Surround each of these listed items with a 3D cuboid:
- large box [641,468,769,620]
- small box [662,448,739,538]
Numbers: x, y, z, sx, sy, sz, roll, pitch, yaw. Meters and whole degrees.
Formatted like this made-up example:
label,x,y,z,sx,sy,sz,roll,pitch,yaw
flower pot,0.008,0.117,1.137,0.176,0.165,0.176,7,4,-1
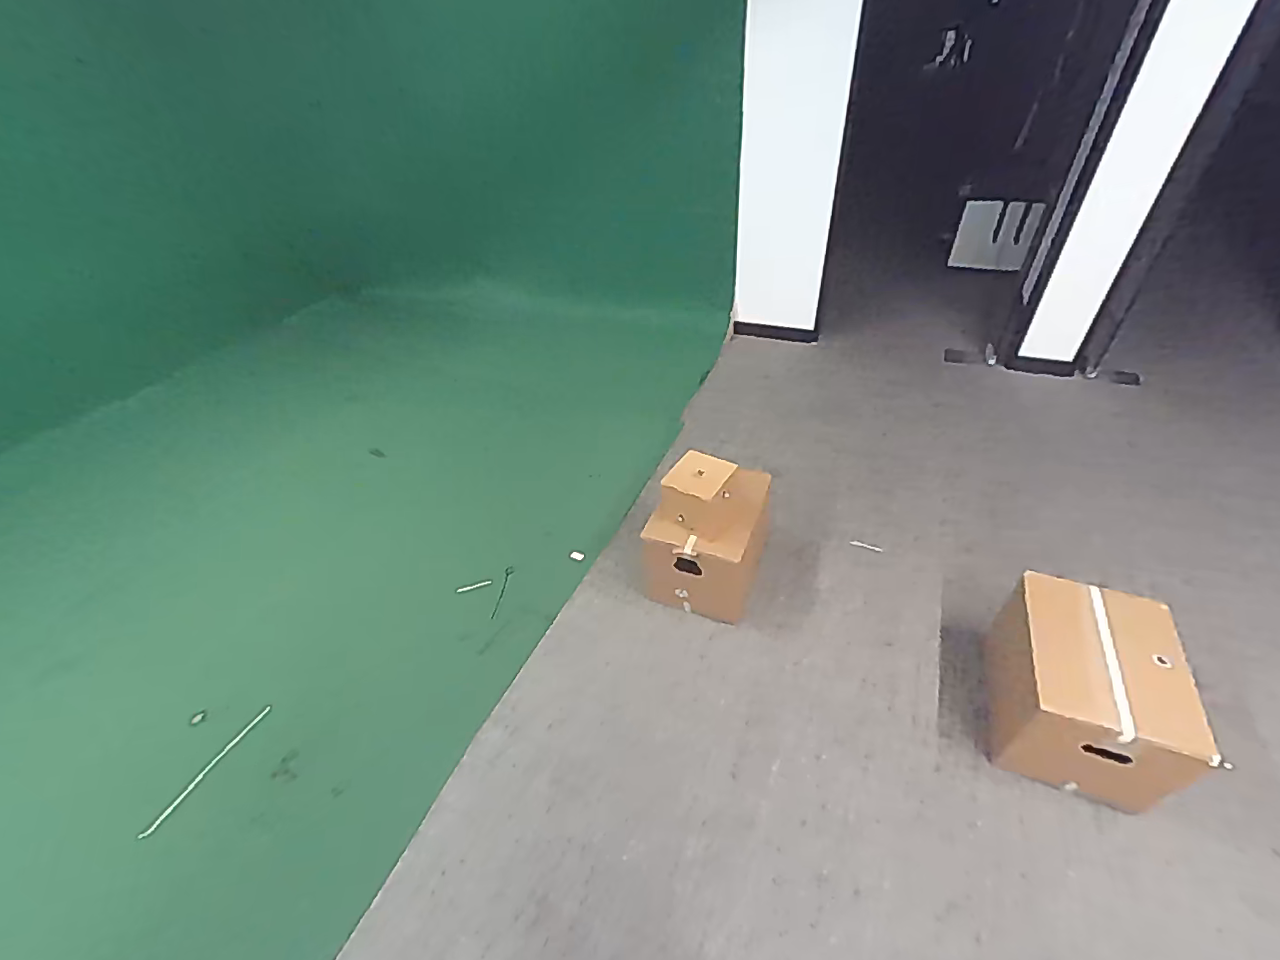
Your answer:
label,x,y,z,sx,sy,sz,roll,pitch,yaw
large box,0.227,0.189,1.804,0.320,0.320,0.408,13,44,20
small box,0.181,0.038,1.611,0.168,0.176,0.179,21,49,28
